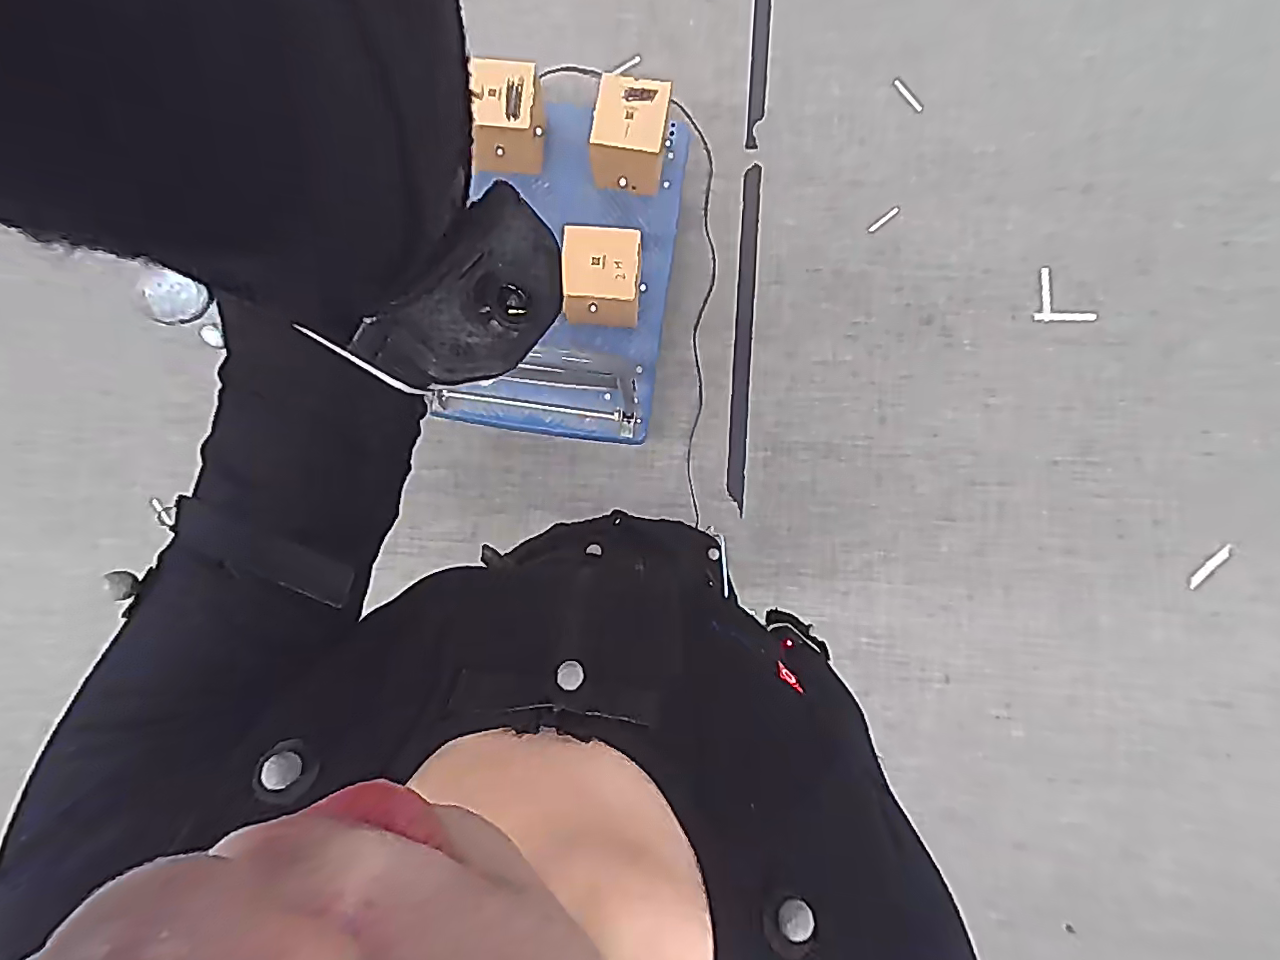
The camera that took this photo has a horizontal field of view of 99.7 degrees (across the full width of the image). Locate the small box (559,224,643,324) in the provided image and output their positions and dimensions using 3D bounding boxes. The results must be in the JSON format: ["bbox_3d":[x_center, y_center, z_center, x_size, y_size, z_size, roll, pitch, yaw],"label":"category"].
[{"bbox_3d":[-0.087,-0.485,1.292,0.179,0.176,0.168,5,86,1],"label":"small box"}]

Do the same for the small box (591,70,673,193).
[{"bbox_3d":[-0.018,-0.843,1.321,0.168,0.176,0.179,10,87,1],"label":"small box"}]

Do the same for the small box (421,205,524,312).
[{"bbox_3d":[-0.394,-0.522,1.299,0.179,0.176,0.168,11,85,0],"label":"small box"}]
